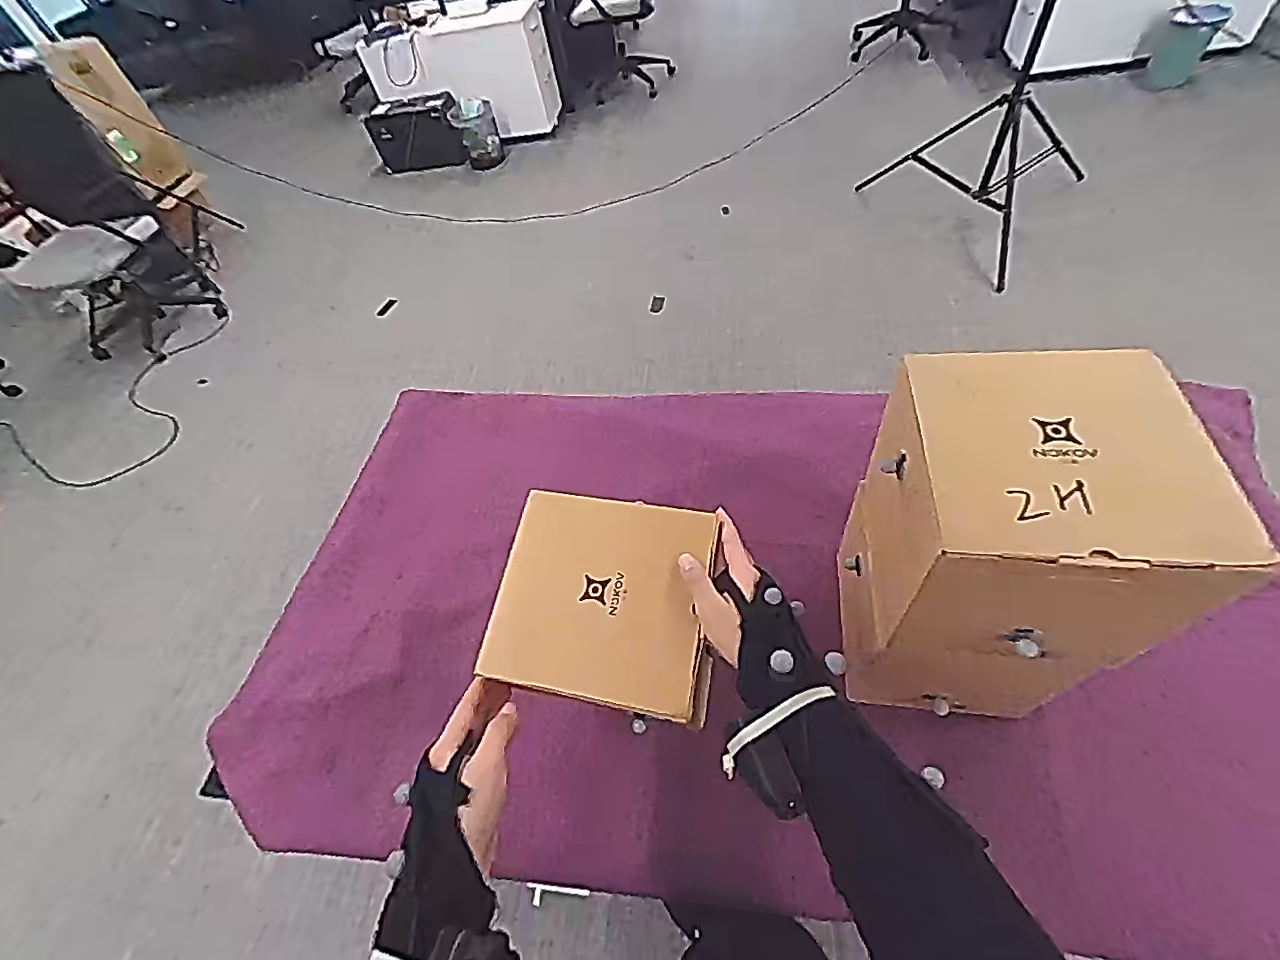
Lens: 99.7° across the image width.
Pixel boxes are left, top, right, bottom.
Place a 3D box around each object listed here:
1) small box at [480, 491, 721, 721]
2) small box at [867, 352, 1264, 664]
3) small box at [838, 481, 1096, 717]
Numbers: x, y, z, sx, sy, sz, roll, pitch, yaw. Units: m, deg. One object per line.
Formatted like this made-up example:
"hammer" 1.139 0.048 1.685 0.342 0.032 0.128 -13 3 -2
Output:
"small box" -0.020 0.127 0.523 0.179 0.176 0.168 7 64 12
"small box" 0.281 0.023 0.419 0.168 0.176 0.179 1 54 13
"small box" 0.301 0.121 0.550 0.168 0.176 0.179 1 54 12
